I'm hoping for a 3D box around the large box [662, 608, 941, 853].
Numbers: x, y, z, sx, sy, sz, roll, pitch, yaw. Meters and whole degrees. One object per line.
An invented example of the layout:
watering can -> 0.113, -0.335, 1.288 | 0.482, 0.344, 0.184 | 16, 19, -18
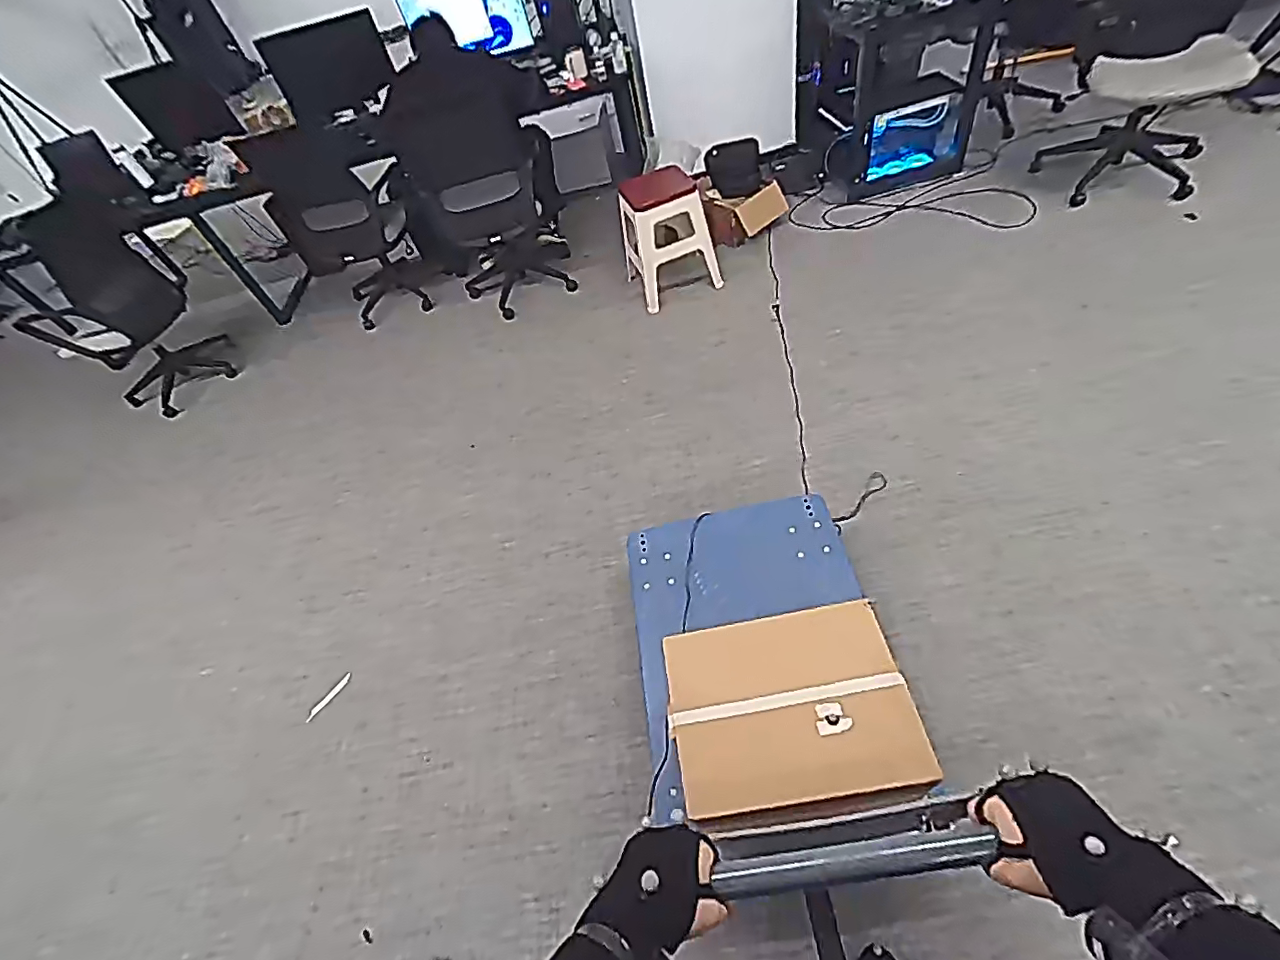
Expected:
large box -> 0.279, 0.491, 1.045 | 0.408, 0.320, 0.320 | -12, 50, 4
